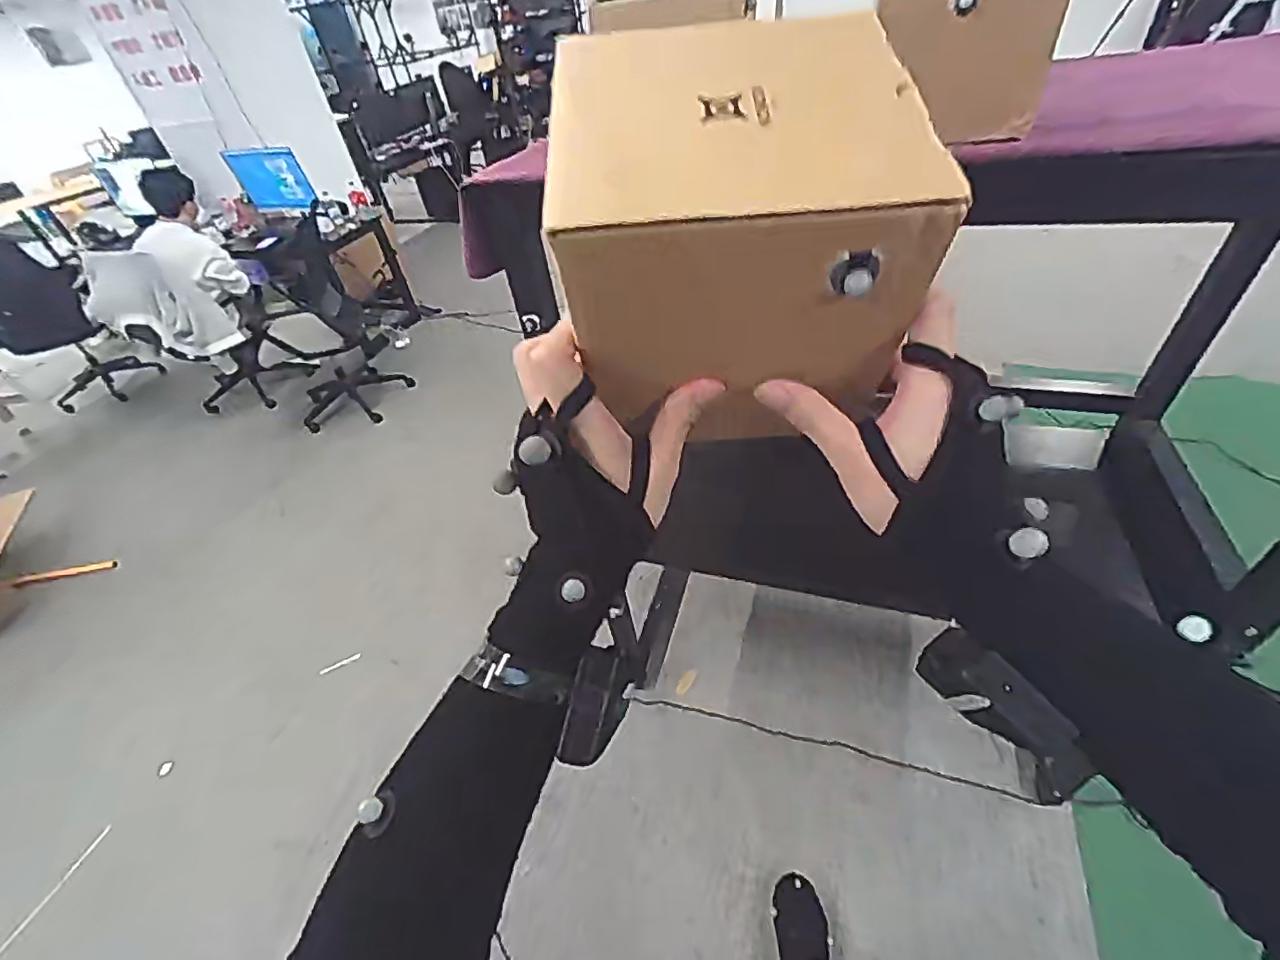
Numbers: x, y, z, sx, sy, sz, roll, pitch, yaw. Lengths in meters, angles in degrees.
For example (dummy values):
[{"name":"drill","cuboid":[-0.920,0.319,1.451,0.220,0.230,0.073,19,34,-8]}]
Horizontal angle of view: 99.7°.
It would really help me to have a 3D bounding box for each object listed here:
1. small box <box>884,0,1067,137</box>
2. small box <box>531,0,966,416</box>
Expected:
[{"name":"small box","cuboid":[0.351,-0.490,0.600,0.179,0.176,0.168,7,44,19]},{"name":"small box","cuboid":[0.046,-0.151,0.322,0.179,0.176,0.168,-3,61,2]}]
